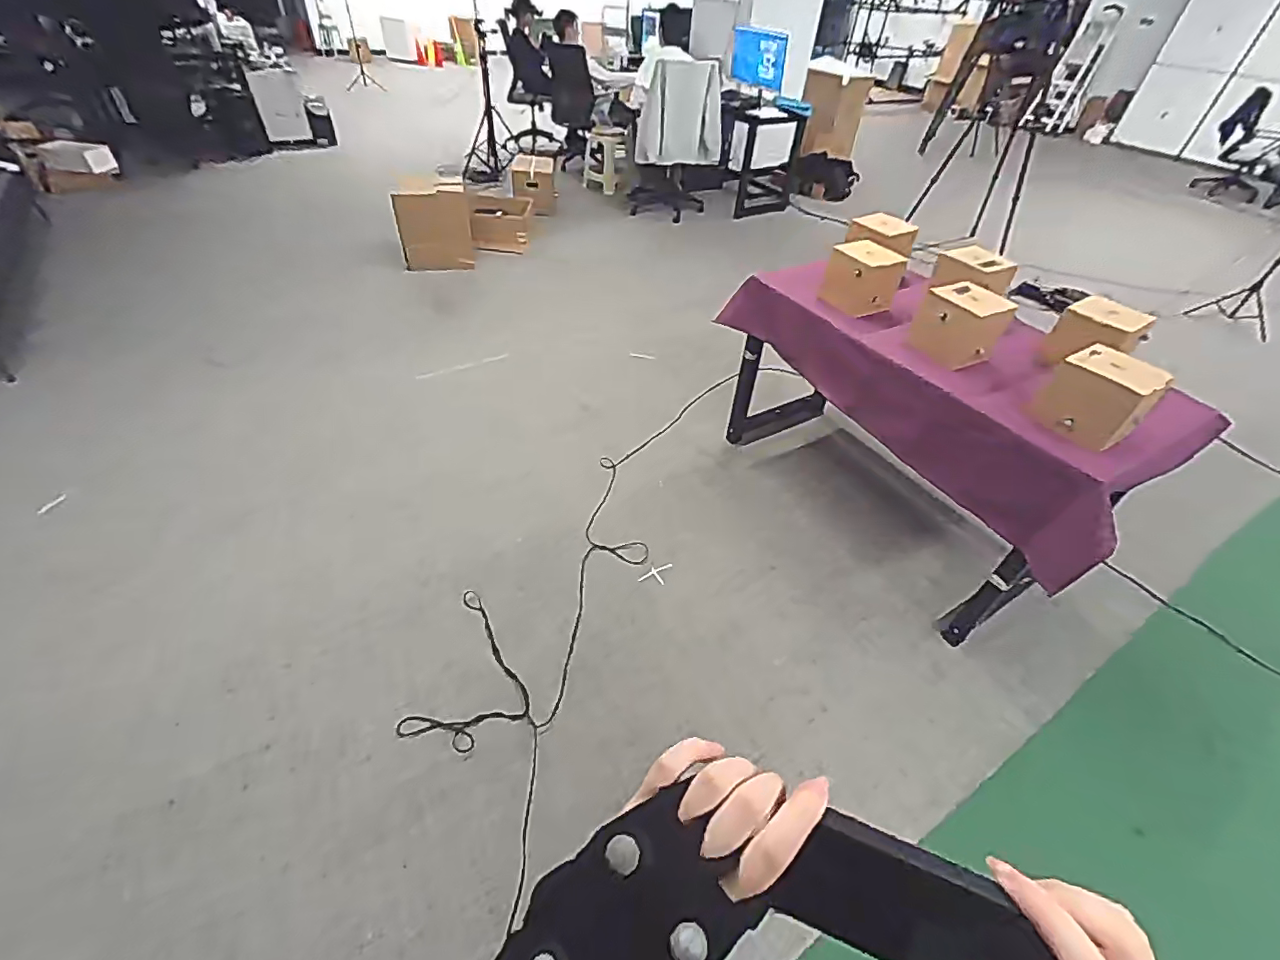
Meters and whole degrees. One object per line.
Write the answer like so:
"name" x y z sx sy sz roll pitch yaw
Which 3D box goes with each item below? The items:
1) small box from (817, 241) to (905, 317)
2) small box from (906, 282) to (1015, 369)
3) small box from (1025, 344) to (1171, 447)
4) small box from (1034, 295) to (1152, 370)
"small box" 0.704 -0.648 1.746 0.168 0.176 0.179 -20 49 -24
"small box" 0.902 -0.440 1.541 0.168 0.176 0.179 -18 49 -23
"small box" 1.089 -0.197 1.299 0.168 0.176 0.179 -21 49 -26
"small box" 1.264 -0.395 1.522 0.179 0.176 0.168 -23 49 -26
